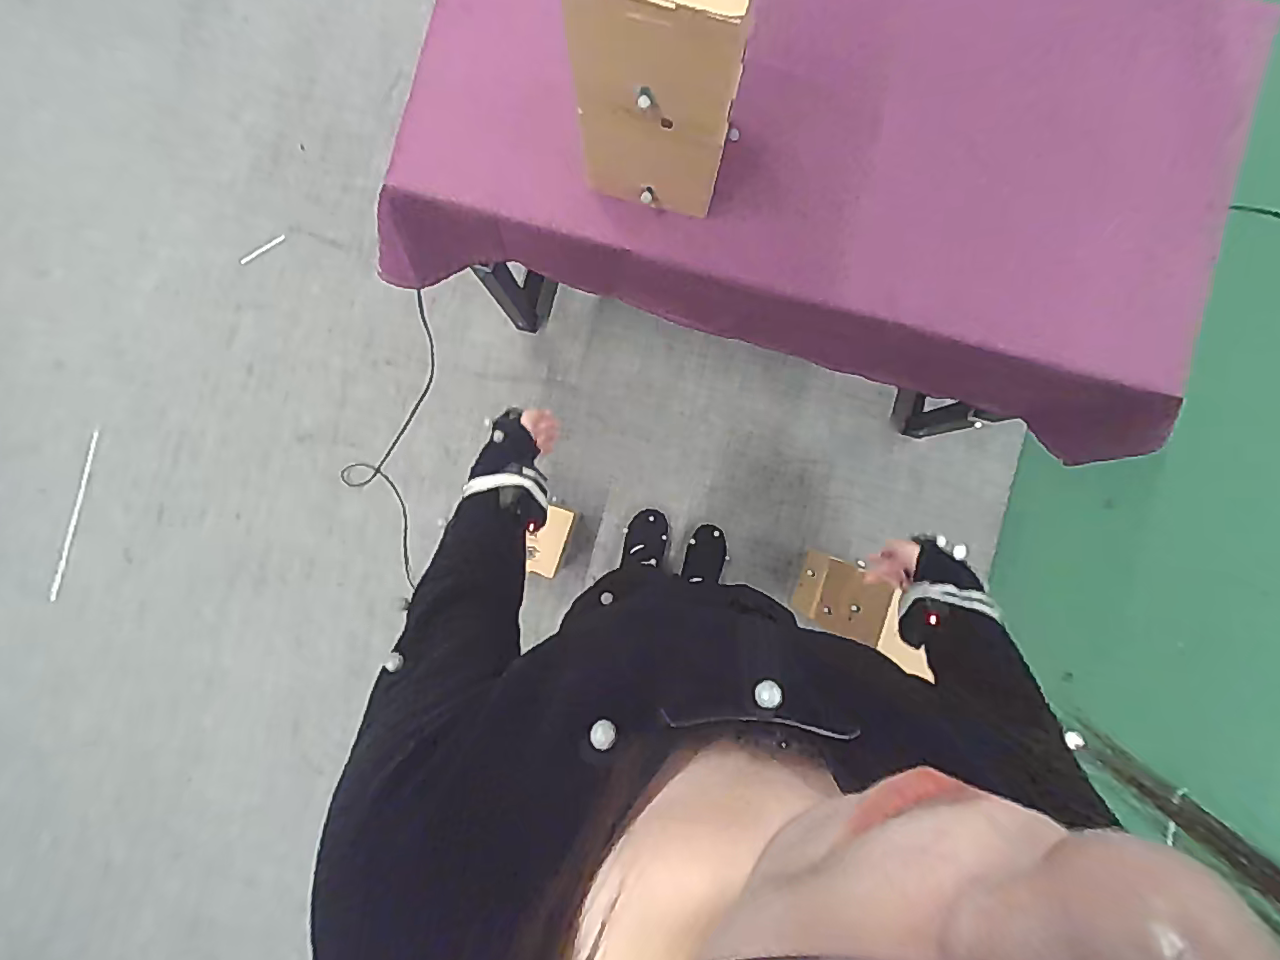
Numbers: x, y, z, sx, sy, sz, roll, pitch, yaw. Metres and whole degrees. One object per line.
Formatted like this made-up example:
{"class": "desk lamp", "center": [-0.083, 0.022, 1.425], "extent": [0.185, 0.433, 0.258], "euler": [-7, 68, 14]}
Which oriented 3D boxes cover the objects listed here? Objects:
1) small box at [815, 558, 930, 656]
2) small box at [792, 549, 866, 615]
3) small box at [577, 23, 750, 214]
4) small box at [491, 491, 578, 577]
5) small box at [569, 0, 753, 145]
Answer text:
{"class": "small box", "center": [0.532, 0.287, 1.266], "extent": [0.179, 0.176, 0.168], "euler": [16, 90, -1]}
{"class": "small box", "center": [0.524, 0.287, 1.428], "extent": [0.179, 0.176, 0.168], "euler": [19, 89, 0]}
{"class": "small box", "center": [0.027, -0.483, 0.715], "extent": [0.179, 0.176, 0.168], "euler": [14, 88, -1]}
{"class": "small box", "center": [-0.269, 0.138, 1.430], "extent": [0.168, 0.176, 0.179], "euler": [18, 88, 0]}
{"class": "small box", "center": [0.029, -0.492, 0.550], "extent": [0.168, 0.176, 0.179], "euler": [15, 89, 1]}
